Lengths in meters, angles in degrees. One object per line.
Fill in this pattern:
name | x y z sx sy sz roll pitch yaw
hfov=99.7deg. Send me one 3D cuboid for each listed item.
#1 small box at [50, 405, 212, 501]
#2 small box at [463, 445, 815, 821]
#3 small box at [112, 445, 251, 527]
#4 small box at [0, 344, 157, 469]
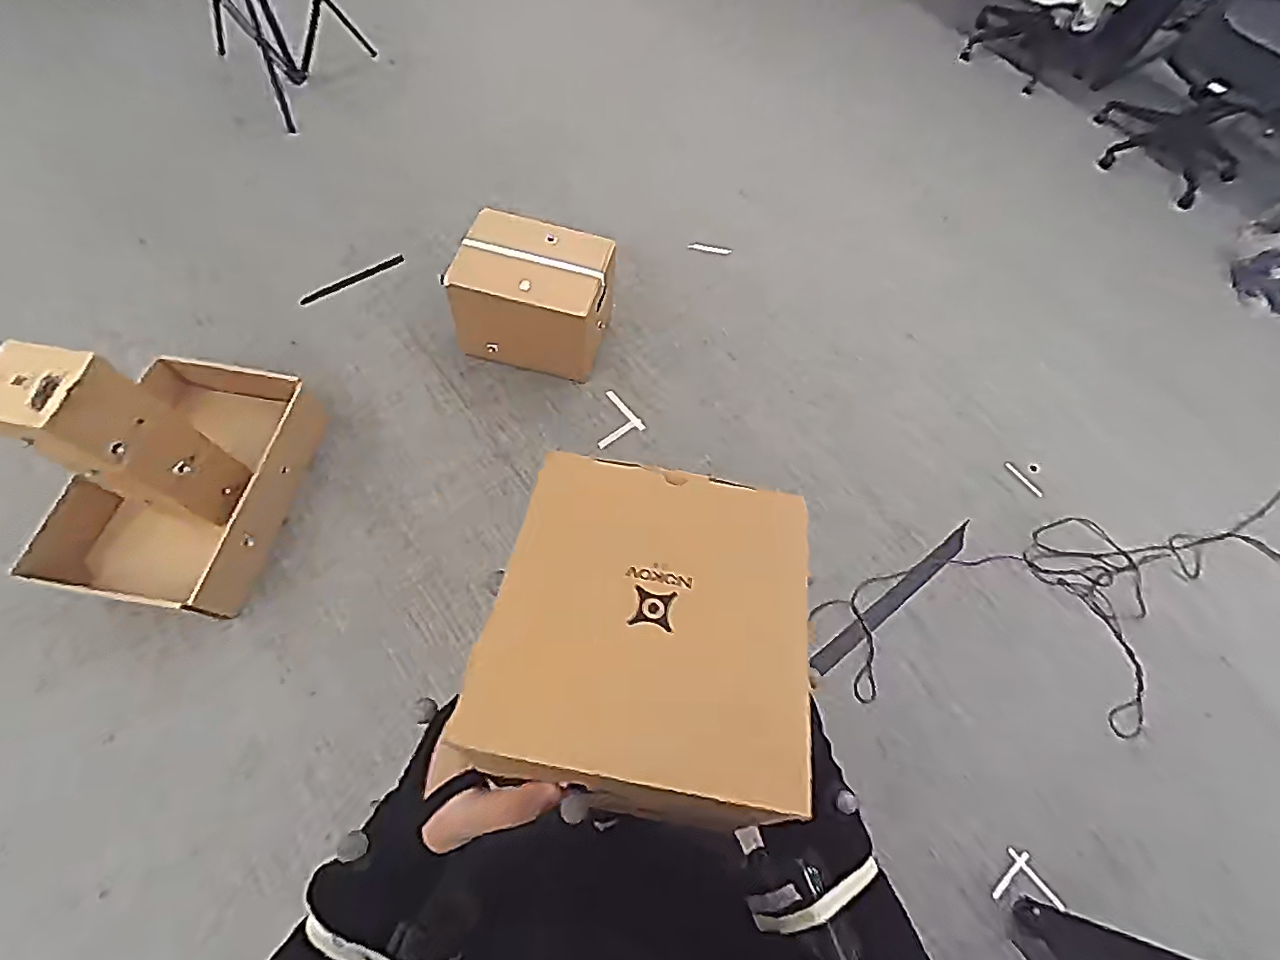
small box | -1.120 -0.067 1.200 0.179 0.176 0.168 11 65 -1
small box | 0.007 0.107 0.355 0.168 0.176 0.179 10 53 2
small box | -1.132 0.003 1.346 0.179 0.176 0.168 12 65 1
small box | -1.112 -0.136 1.051 0.179 0.176 0.168 10 65 1
